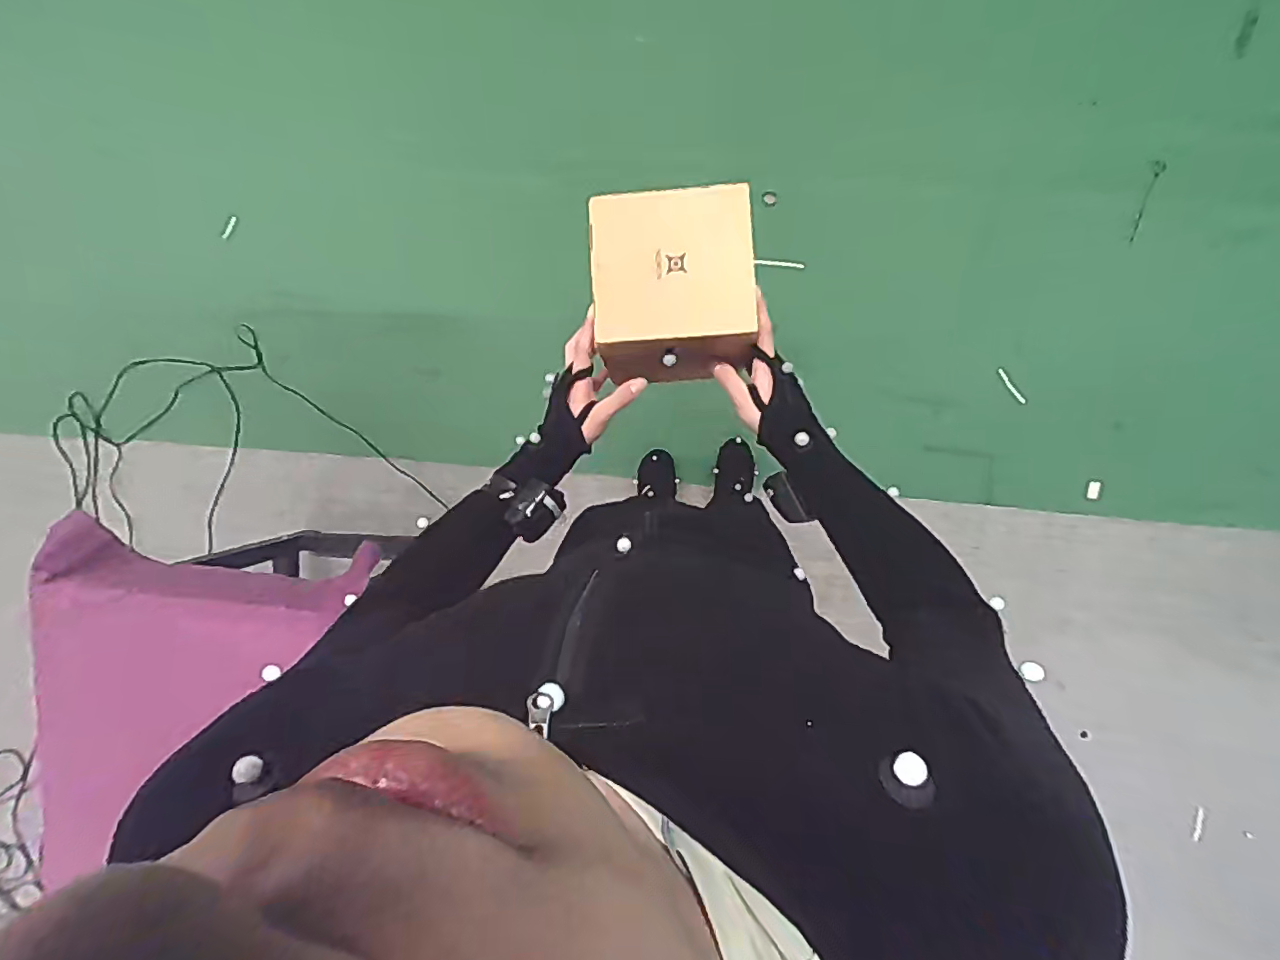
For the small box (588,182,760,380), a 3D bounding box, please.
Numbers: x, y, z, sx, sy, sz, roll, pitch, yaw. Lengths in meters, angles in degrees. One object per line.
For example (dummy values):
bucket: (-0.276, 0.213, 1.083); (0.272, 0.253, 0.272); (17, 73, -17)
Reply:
small box: (0.040, -0.223, 0.647); (0.179, 0.176, 0.168); (-3, 85, 5)
